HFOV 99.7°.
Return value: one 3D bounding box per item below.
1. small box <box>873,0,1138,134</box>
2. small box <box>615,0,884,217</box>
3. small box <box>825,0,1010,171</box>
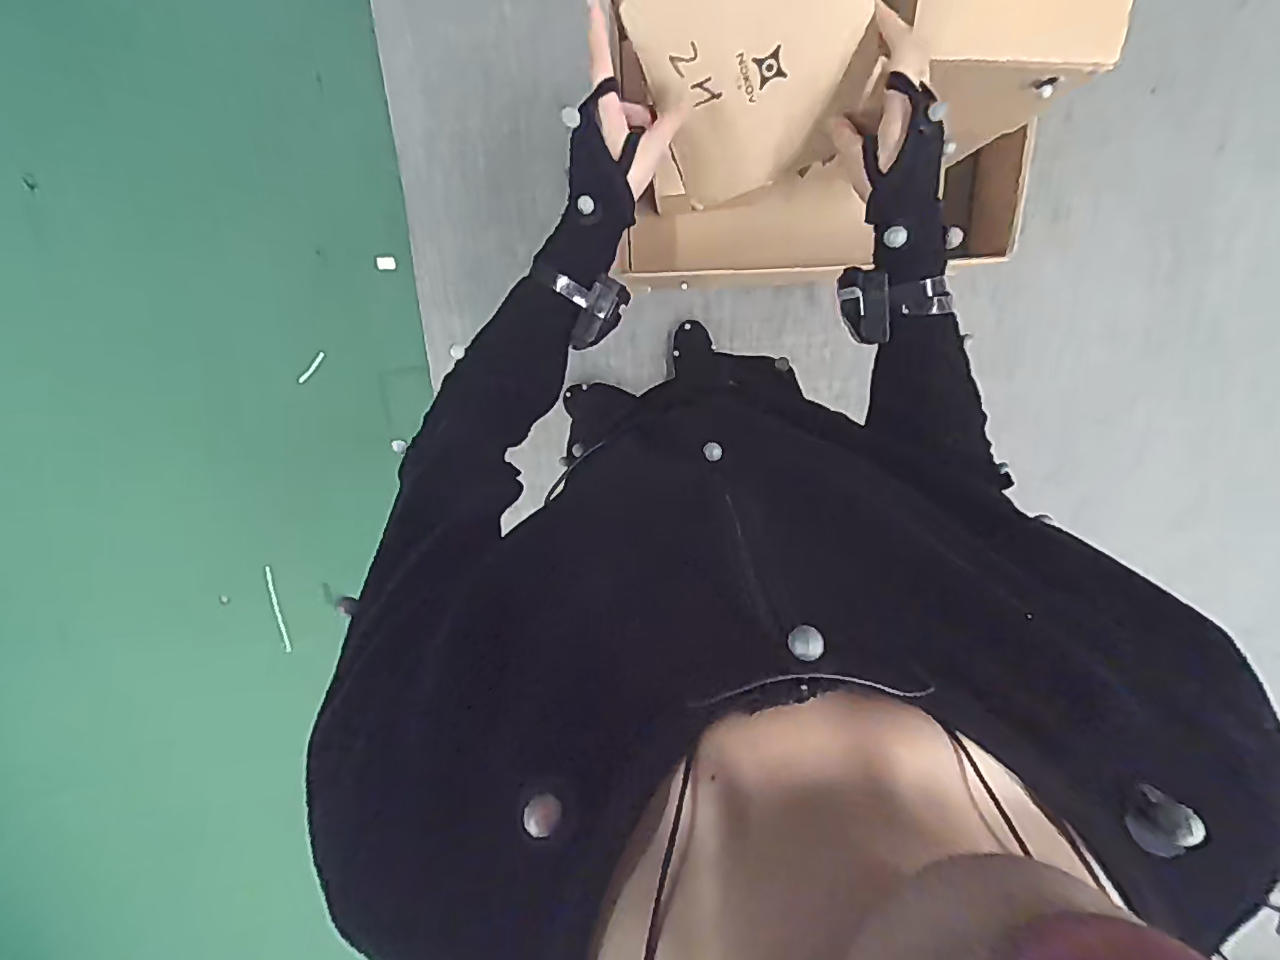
[{"bbox_3d":[0.328,-0.449,0.513,0.179,0.176,0.168,5,107,5],"label":"small box"},{"bbox_3d":[0.100,-0.377,0.480,0.179,0.176,0.168,-13,133,25],"label":"small box"},{"bbox_3d":[0.341,-0.494,0.667,0.179,0.176,0.168,4,107,6],"label":"small box"}]
